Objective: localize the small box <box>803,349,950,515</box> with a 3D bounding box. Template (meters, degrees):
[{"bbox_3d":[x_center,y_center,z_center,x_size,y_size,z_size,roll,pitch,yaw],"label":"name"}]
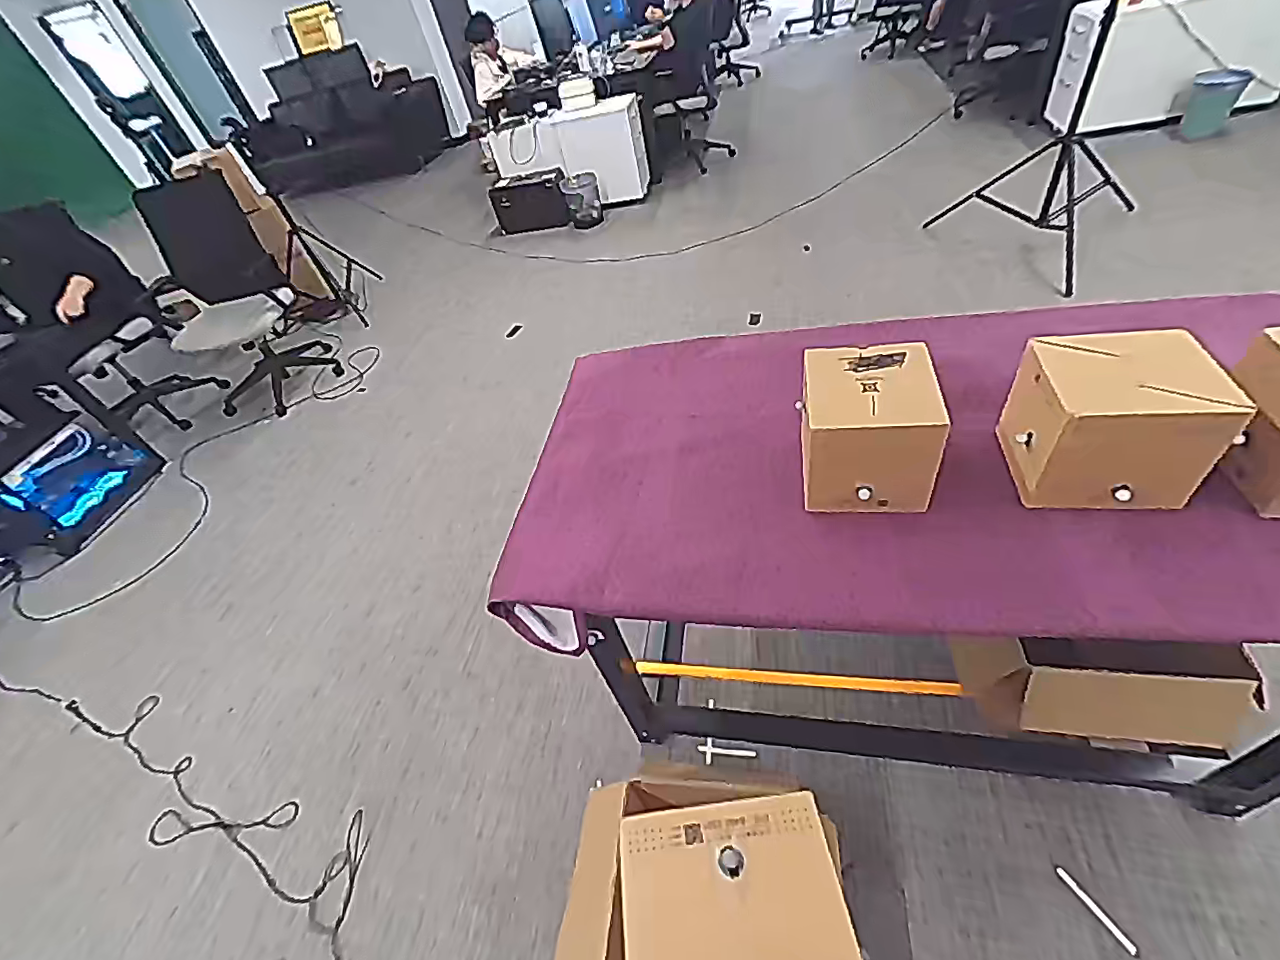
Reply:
[{"bbox_3d":[0.329,-0.069,0.791,0.168,0.176,0.179,-1,46,15],"label":"small box"}]

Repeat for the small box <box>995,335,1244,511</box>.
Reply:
[{"bbox_3d":[0.608,-0.076,0.715,0.179,0.176,0.168,0,45,16],"label":"small box"}]

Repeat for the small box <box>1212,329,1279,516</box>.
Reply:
[{"bbox_3d":[0.843,-0.067,0.642,0.179,0.176,0.168,0,44,15],"label":"small box"}]
